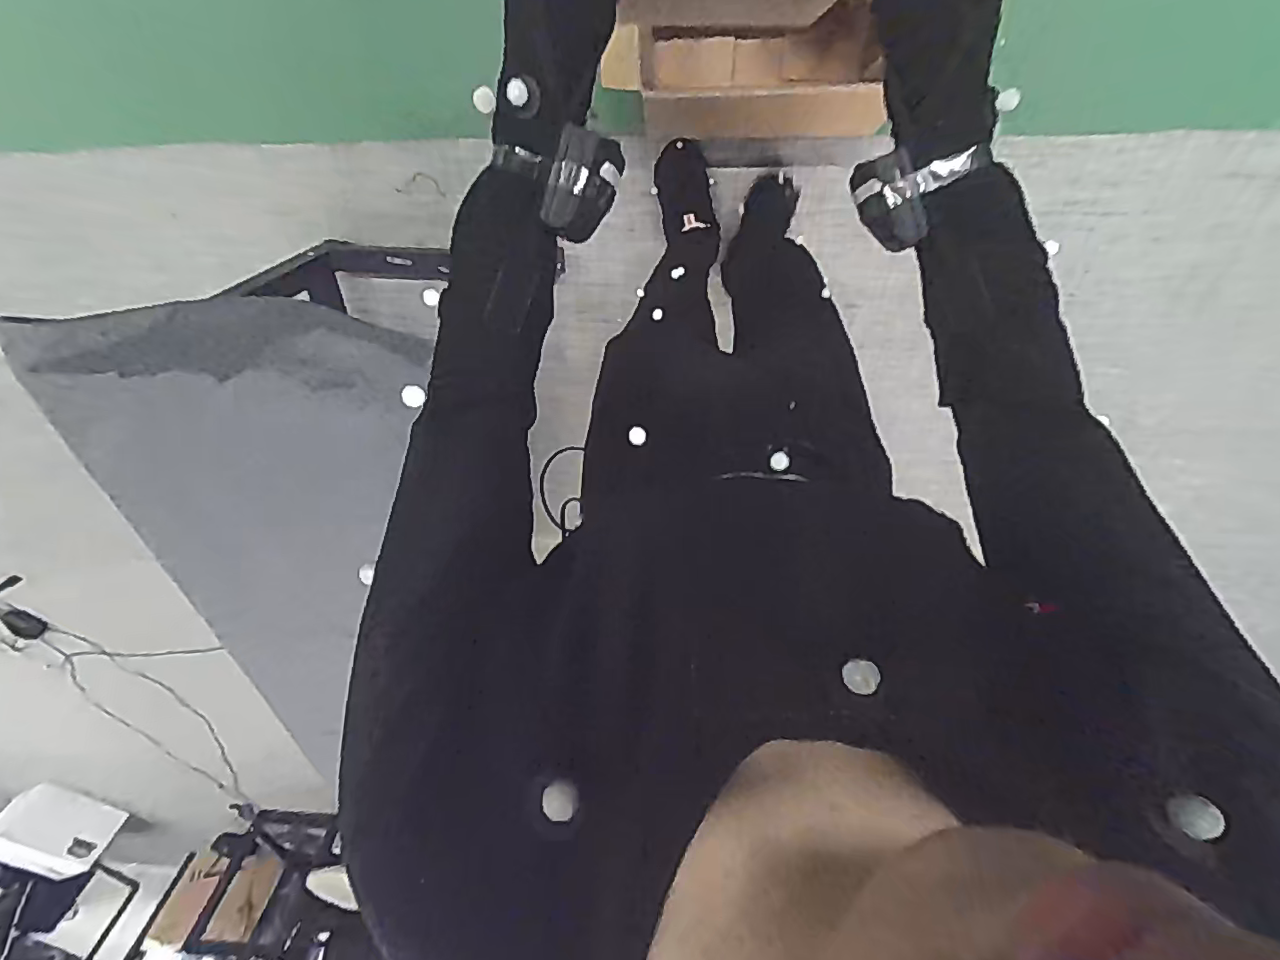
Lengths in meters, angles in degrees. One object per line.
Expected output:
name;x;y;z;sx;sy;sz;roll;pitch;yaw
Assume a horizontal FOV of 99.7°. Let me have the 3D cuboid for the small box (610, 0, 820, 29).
small box;0.065;-0.431;0.361;0.179;0.176;0.168;-5;115;-6
